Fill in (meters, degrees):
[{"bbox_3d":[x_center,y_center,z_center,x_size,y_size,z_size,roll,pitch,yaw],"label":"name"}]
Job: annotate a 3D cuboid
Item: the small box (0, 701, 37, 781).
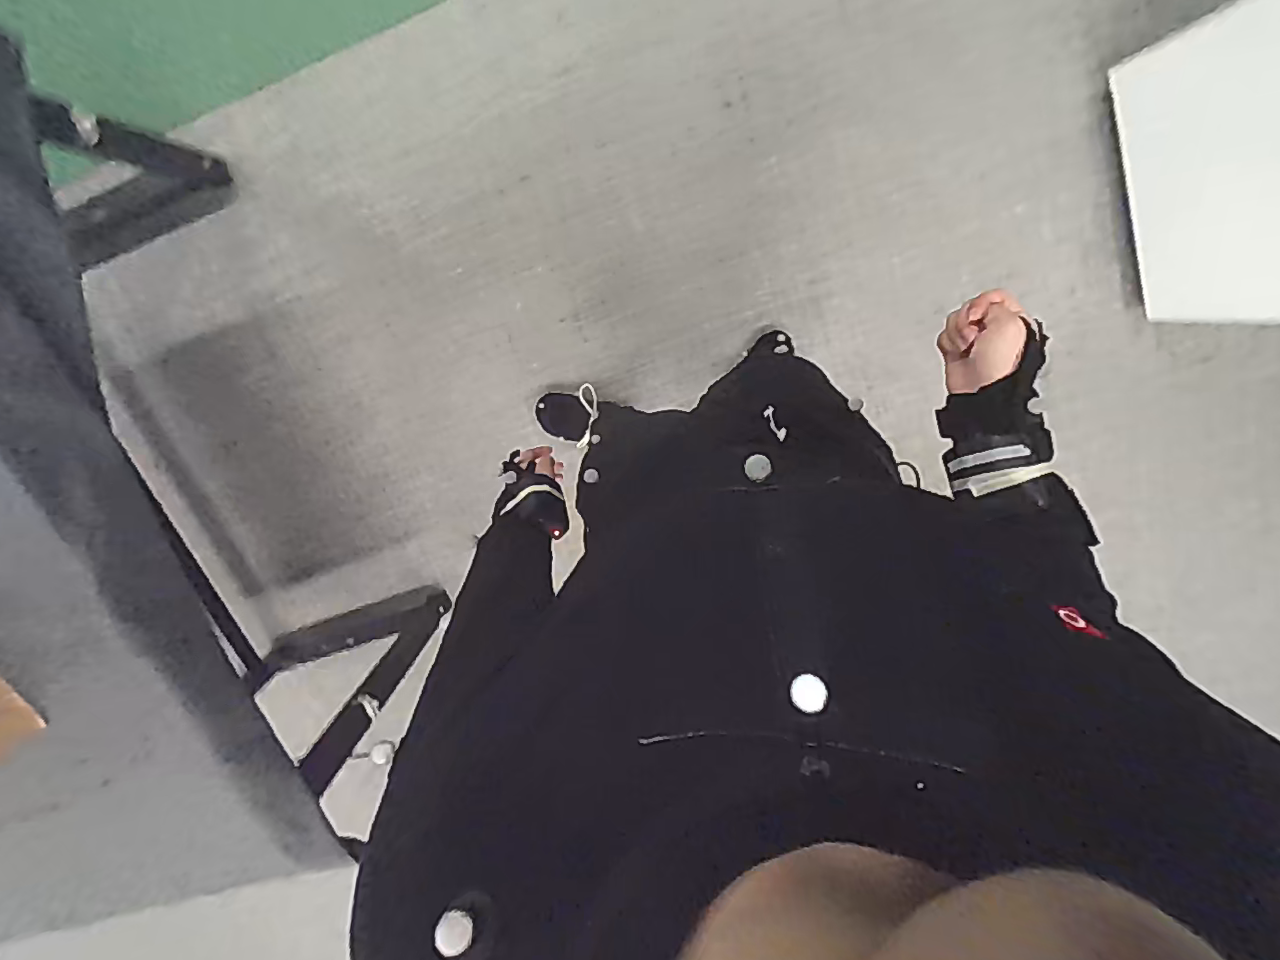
[{"bbox_3d":[-0.921,0.357,0.652,0.179,0.176,0.168,-28,104,9],"label":"small box"}]
